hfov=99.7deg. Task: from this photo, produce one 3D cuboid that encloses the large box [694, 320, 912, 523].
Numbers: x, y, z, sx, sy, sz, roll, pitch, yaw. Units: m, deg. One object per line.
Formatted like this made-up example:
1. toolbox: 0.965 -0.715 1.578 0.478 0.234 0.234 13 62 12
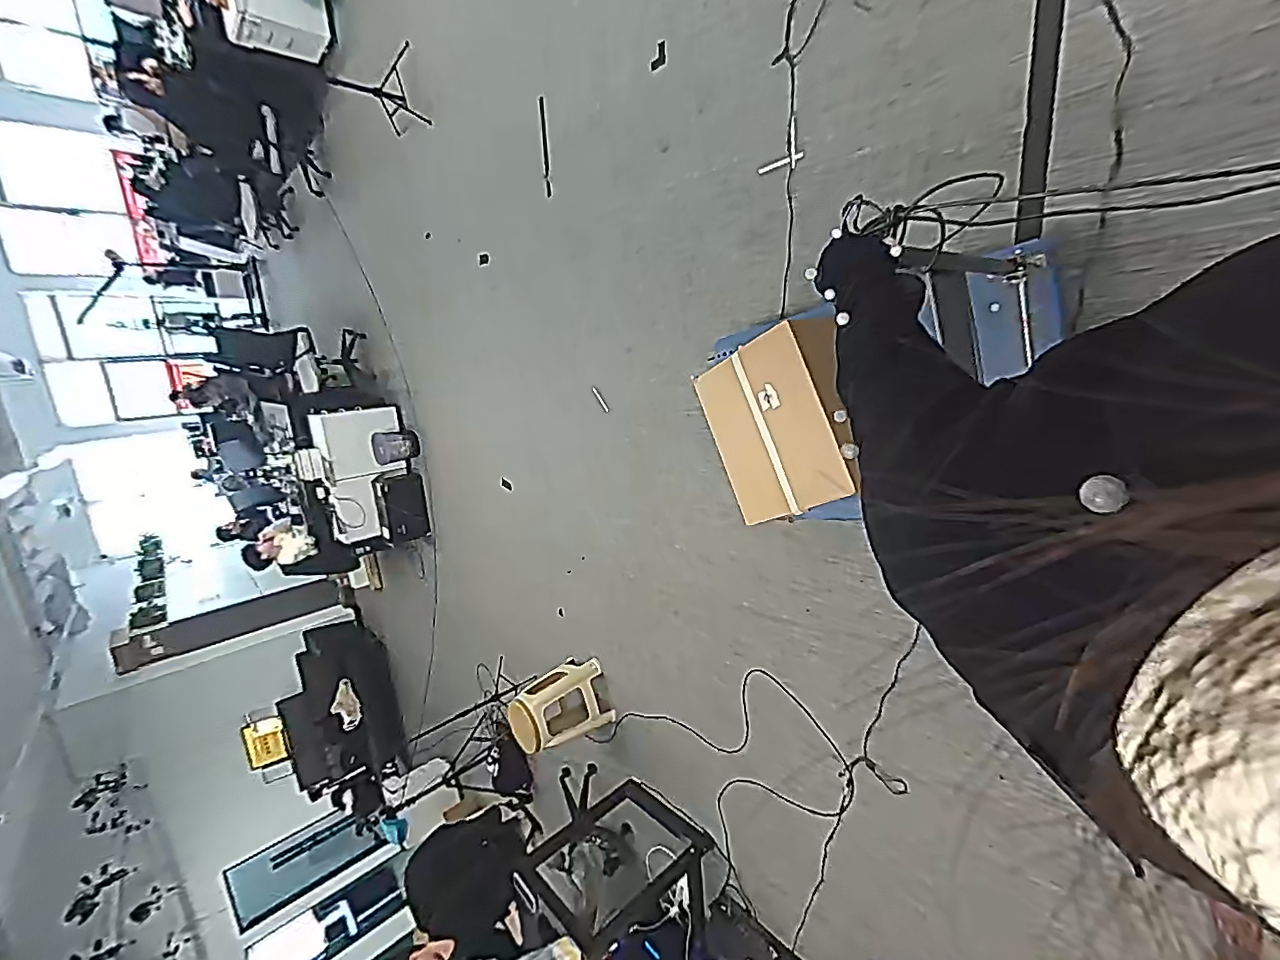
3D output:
1. large box: 0.402 -0.147 1.353 0.320 0.320 0.408 -26 81 49
